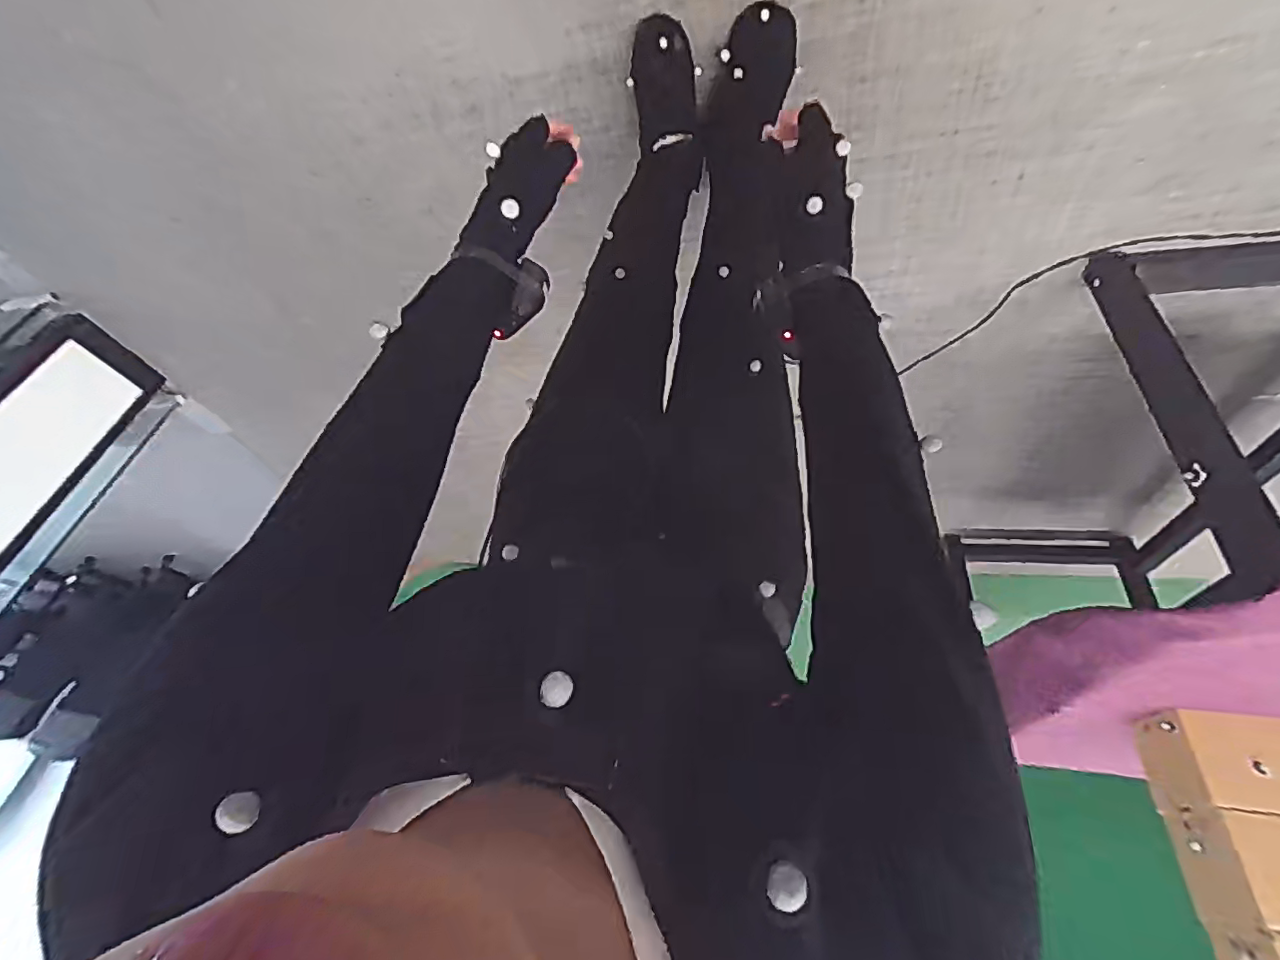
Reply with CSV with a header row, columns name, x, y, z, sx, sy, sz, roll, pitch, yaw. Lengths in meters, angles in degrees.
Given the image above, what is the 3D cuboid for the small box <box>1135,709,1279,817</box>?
name,x,y,z,sx,sy,sz,roll,pitch,yaw
small box,1.101,0.543,1.023,0.179,0.176,0.168,1,145,13

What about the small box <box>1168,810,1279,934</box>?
name,x,y,z,sx,sy,sz,roll,pitch,yaw
small box,1.085,0.677,0.929,0.179,0.176,0.168,1,145,14

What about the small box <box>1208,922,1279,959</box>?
name,x,y,z,sx,sy,sz,roll,pitch,yaw
small box,1.066,0.811,0.838,0.179,0.176,0.168,1,145,14
